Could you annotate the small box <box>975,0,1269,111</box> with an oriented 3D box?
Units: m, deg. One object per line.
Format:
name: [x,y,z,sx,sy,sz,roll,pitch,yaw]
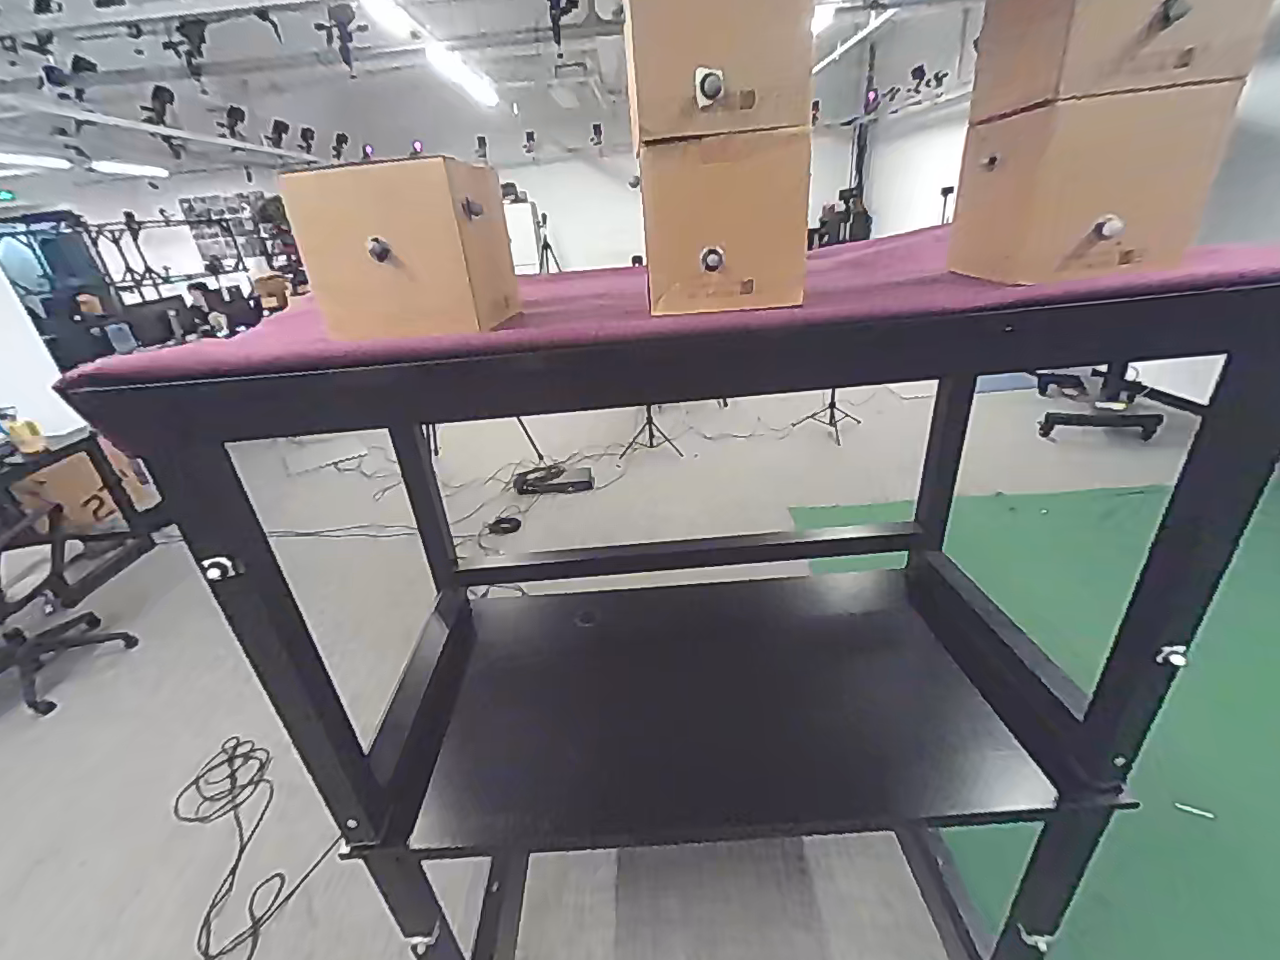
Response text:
small box: [0.458,-0.474,0.526,0.168,0.176,0.179,-4,27,7]

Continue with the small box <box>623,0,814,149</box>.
small box: [0.068,-0.438,0.544,0.168,0.176,0.179,-7,27,1]

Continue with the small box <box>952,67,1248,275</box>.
small box: [0.473,-0.326,0.597,0.168,0.176,0.179,-3,27,7]

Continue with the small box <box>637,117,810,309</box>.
small box: [0.089,-0.295,0.618,0.168,0.176,0.179,-3,26,5]
